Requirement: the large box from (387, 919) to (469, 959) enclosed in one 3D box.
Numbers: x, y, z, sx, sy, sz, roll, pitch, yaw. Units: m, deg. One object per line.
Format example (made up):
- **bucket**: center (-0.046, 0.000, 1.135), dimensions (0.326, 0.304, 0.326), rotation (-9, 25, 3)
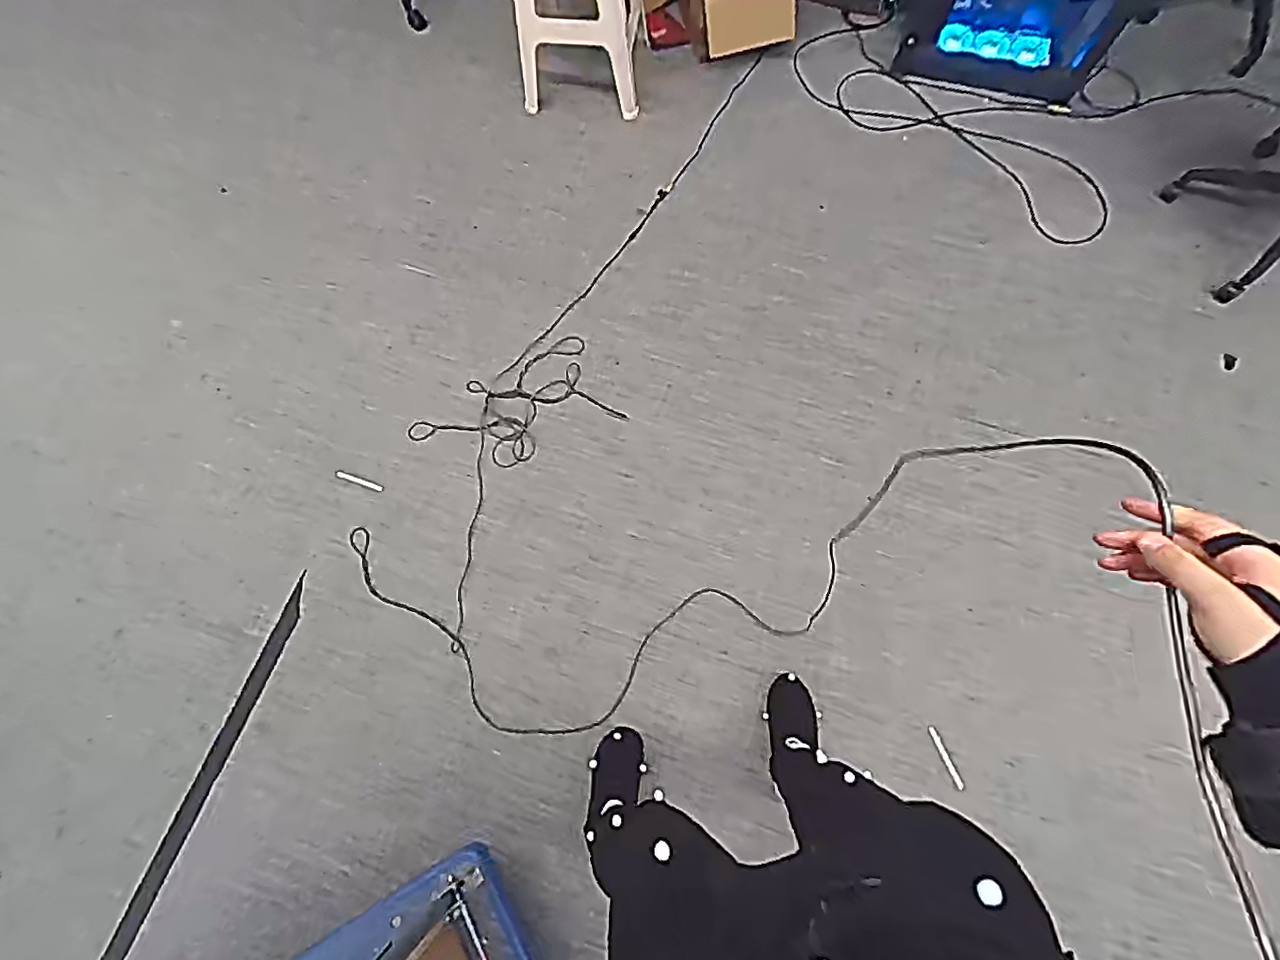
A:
- **large box**: center (-0.390, 1.017, 0.812), dimensions (0.320, 0.320, 0.408), rotation (-30, 73, -8)
